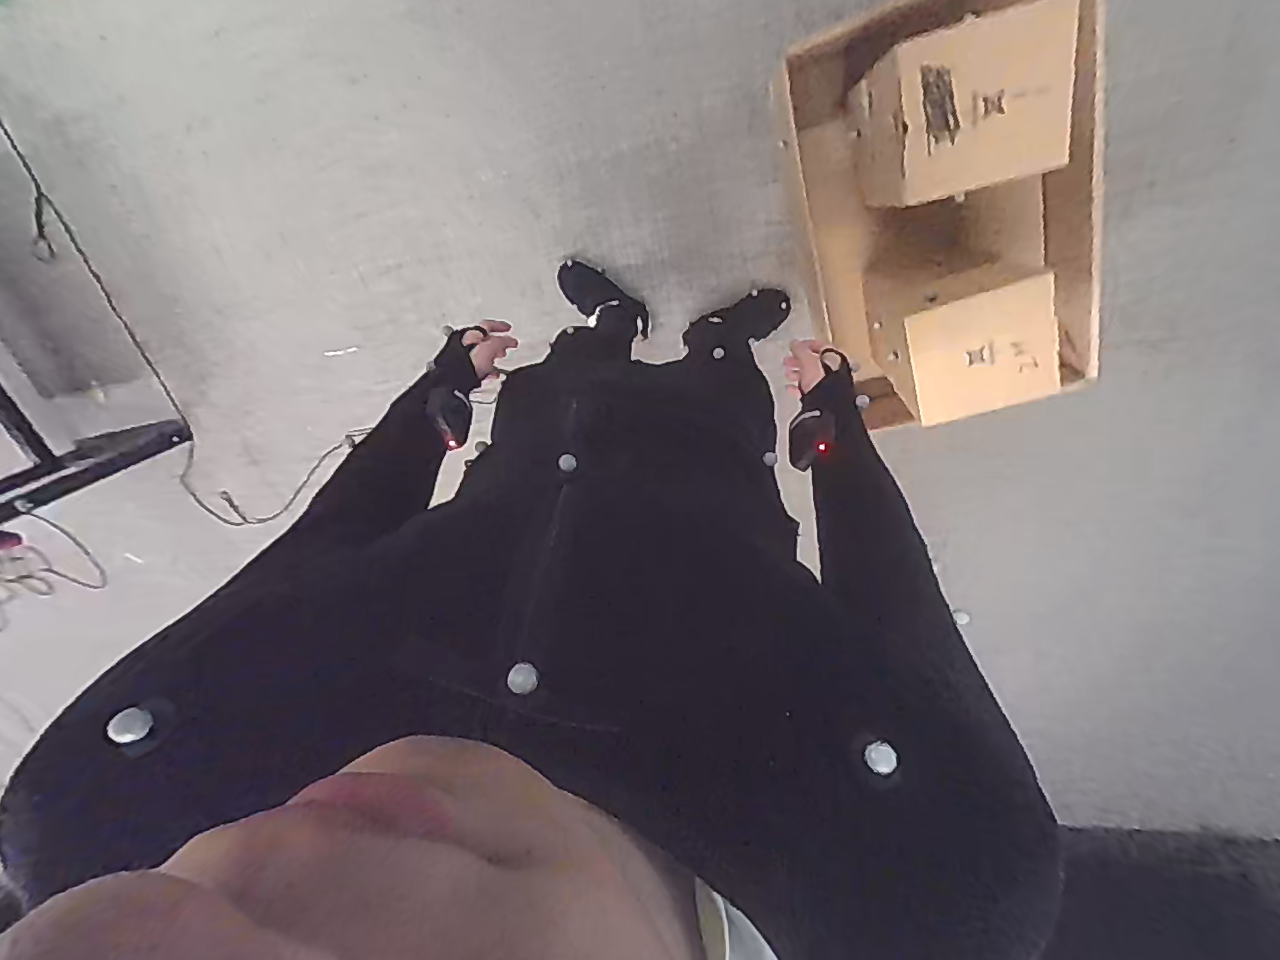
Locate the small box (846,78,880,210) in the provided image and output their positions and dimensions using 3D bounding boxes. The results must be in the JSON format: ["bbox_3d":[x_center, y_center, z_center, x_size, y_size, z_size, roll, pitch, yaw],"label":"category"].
[{"bbox_3d":[0.418,-0.518,0.814,0.179,0.176,0.168,-13,113,15],"label":"small box"}]

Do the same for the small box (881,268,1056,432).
[{"bbox_3d":[0.464,-0.192,0.788,0.179,0.176,0.168,-14,115,17],"label":"small box"}]

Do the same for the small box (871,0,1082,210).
[{"bbox_3d":[0.395,-0.442,0.671,0.179,0.176,0.168,-9,115,13],"label":"small box"}]
